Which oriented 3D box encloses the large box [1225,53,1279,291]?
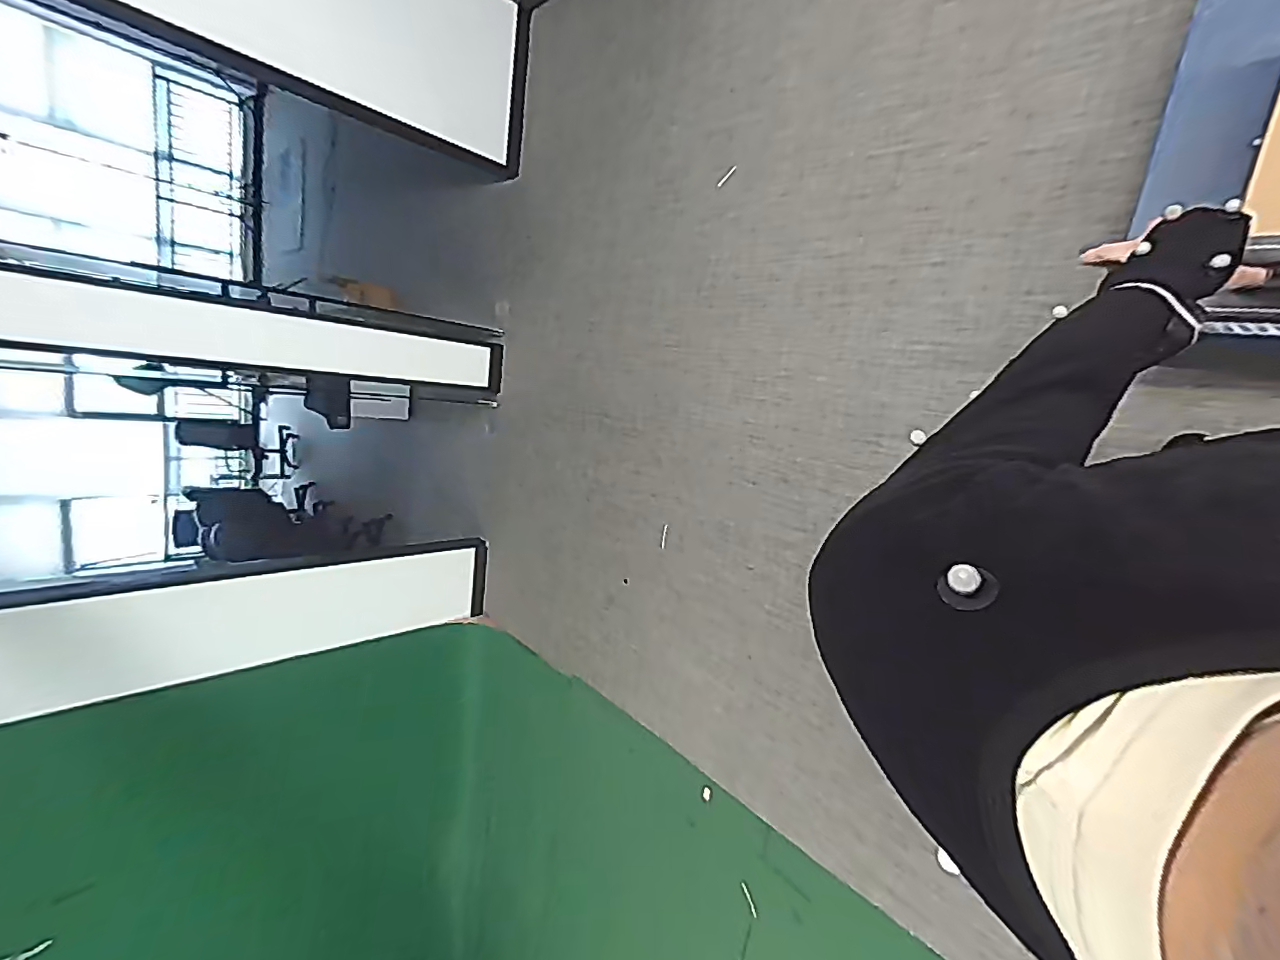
[{"bbox_3d":[1.119,-0.517,0.777,0.320,0.320,0.408,18,103,43],"label":"large box"}]
